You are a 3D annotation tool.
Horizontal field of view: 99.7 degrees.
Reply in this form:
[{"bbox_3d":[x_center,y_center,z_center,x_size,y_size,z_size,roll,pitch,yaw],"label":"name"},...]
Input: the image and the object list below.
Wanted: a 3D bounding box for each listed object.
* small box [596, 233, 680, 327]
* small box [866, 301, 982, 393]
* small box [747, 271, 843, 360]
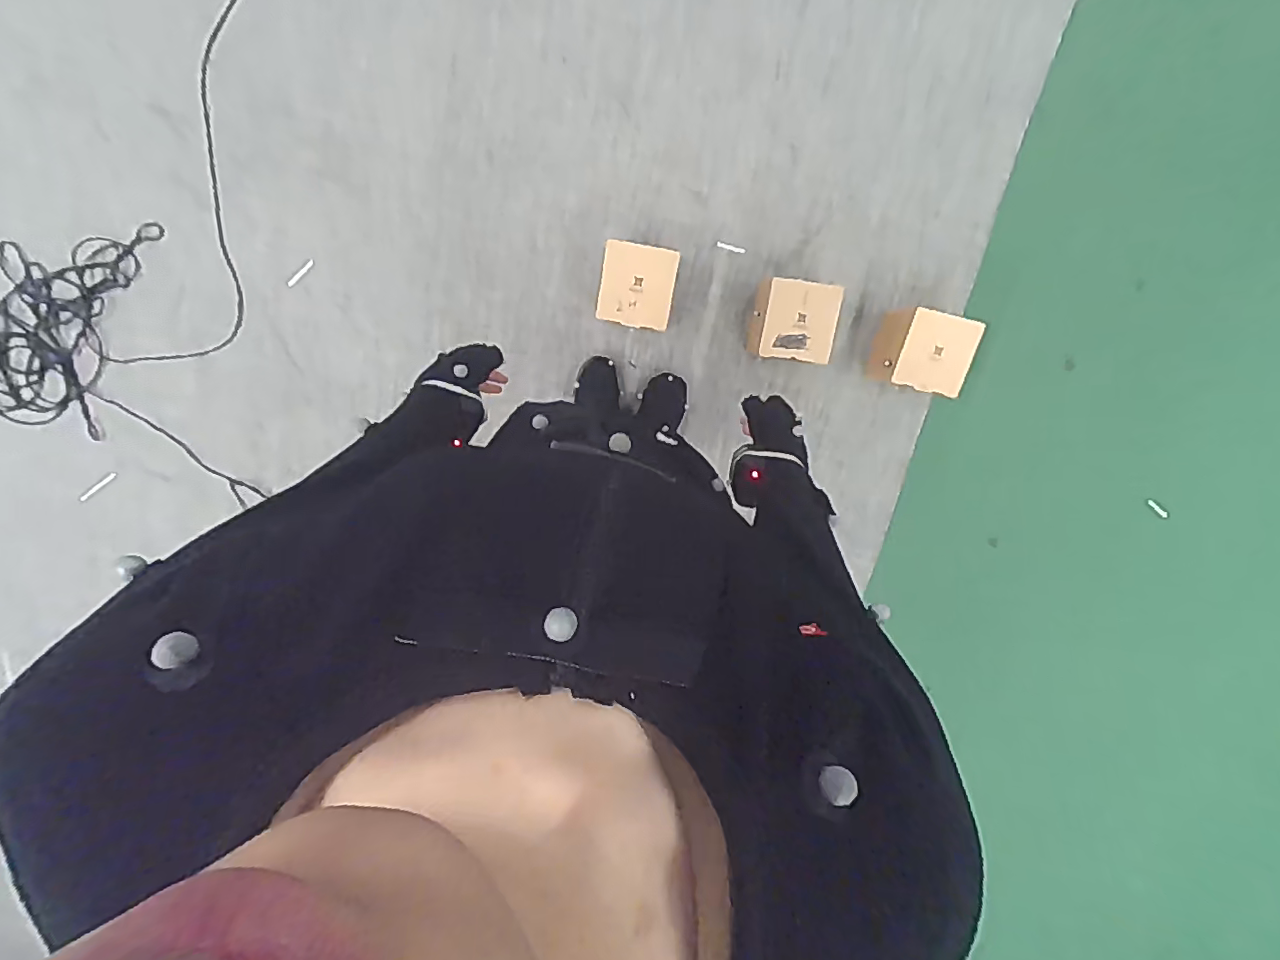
[{"bbox_3d":[-0.004,-0.468,1.286,0.168,0.176,0.179,10,106,-1],"label":"small box"},{"bbox_3d":[0.679,-0.325,1.318,0.168,0.176,0.179,13,106,-2],"label":"small box"},{"bbox_3d":[0.362,-0.392,1.303,0.168,0.176,0.179,8,105,-2],"label":"small box"}]
